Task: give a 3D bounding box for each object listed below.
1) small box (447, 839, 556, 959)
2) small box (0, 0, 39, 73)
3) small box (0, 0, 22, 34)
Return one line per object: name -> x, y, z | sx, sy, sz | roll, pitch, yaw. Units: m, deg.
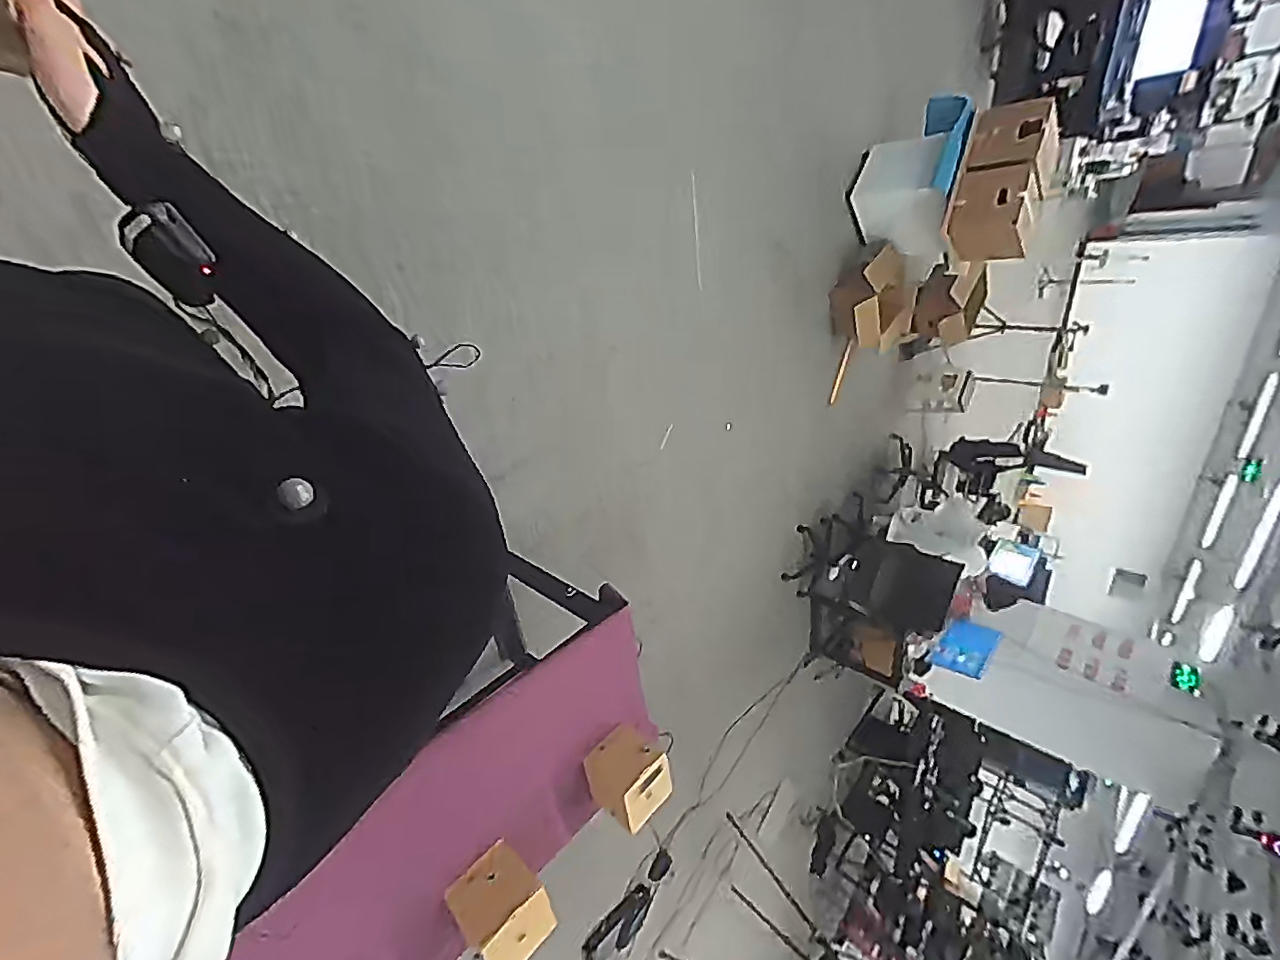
small box -> -0.326, 1.005, 1.279 | 0.168, 0.176, 0.179 | -31, 124, -38
small box -> -0.559, -0.426, 0.376 | 0.168, 0.176, 0.179 | -12, 116, -43
small box -> -0.447, -0.374, 0.267 | 0.168, 0.176, 0.179 | -10, 115, -44
